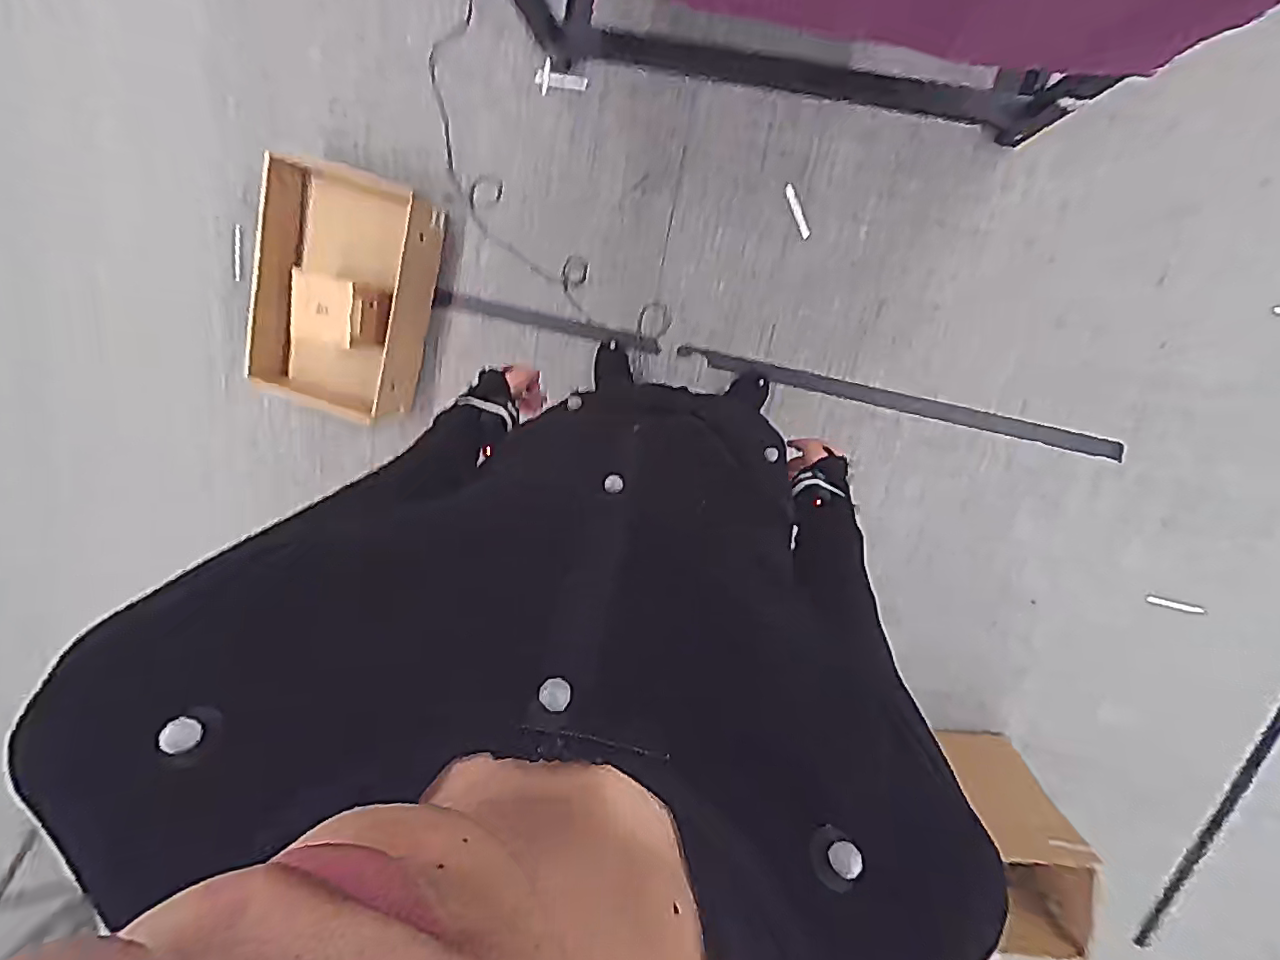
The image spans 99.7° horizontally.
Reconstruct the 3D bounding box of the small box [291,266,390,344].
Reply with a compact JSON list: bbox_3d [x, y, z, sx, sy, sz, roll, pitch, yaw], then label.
[{"bbox_3d":[-0.816,-0.475,1.486,0.179,0.176,0.168,14,104,3],"label":"small box"}]
